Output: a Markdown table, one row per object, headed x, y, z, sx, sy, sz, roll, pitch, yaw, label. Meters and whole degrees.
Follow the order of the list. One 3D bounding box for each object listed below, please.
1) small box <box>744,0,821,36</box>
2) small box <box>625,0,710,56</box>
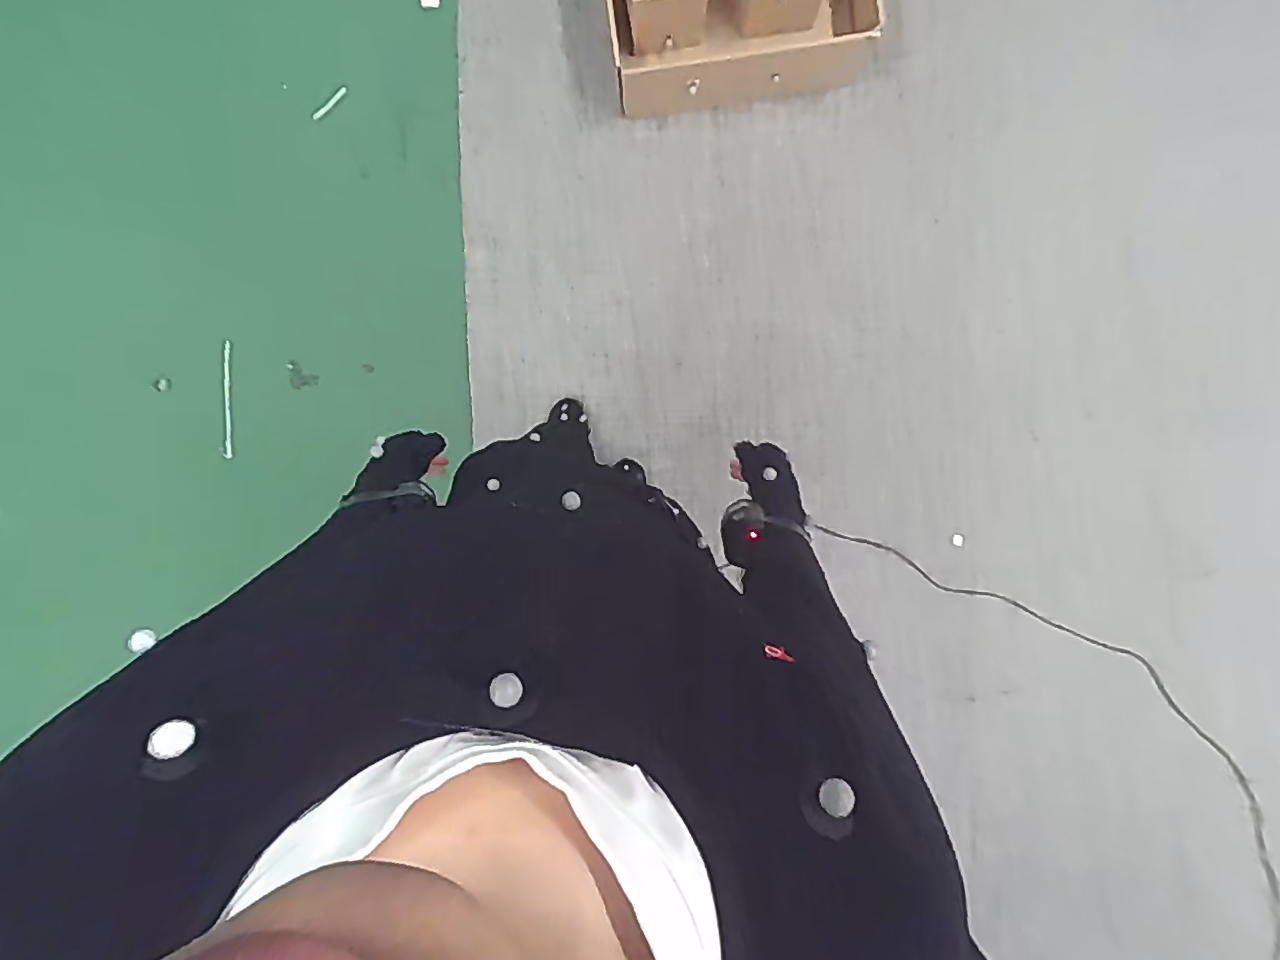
| x | y | z | sx | sy | sz | roll | pitch | yaw | label |
| --- | --- | --- | --- | --- | --- | --- | --- | --- | --- |
| 0.338 | -1.195 | 1.274 | 0.179 | 0.176 | 0.168 | -6 | 92 | 2 | small box |
| 0.060 | -1.157 | 1.280 | 0.179 | 0.176 | 0.168 | -10 | 91 | 0 | small box |
